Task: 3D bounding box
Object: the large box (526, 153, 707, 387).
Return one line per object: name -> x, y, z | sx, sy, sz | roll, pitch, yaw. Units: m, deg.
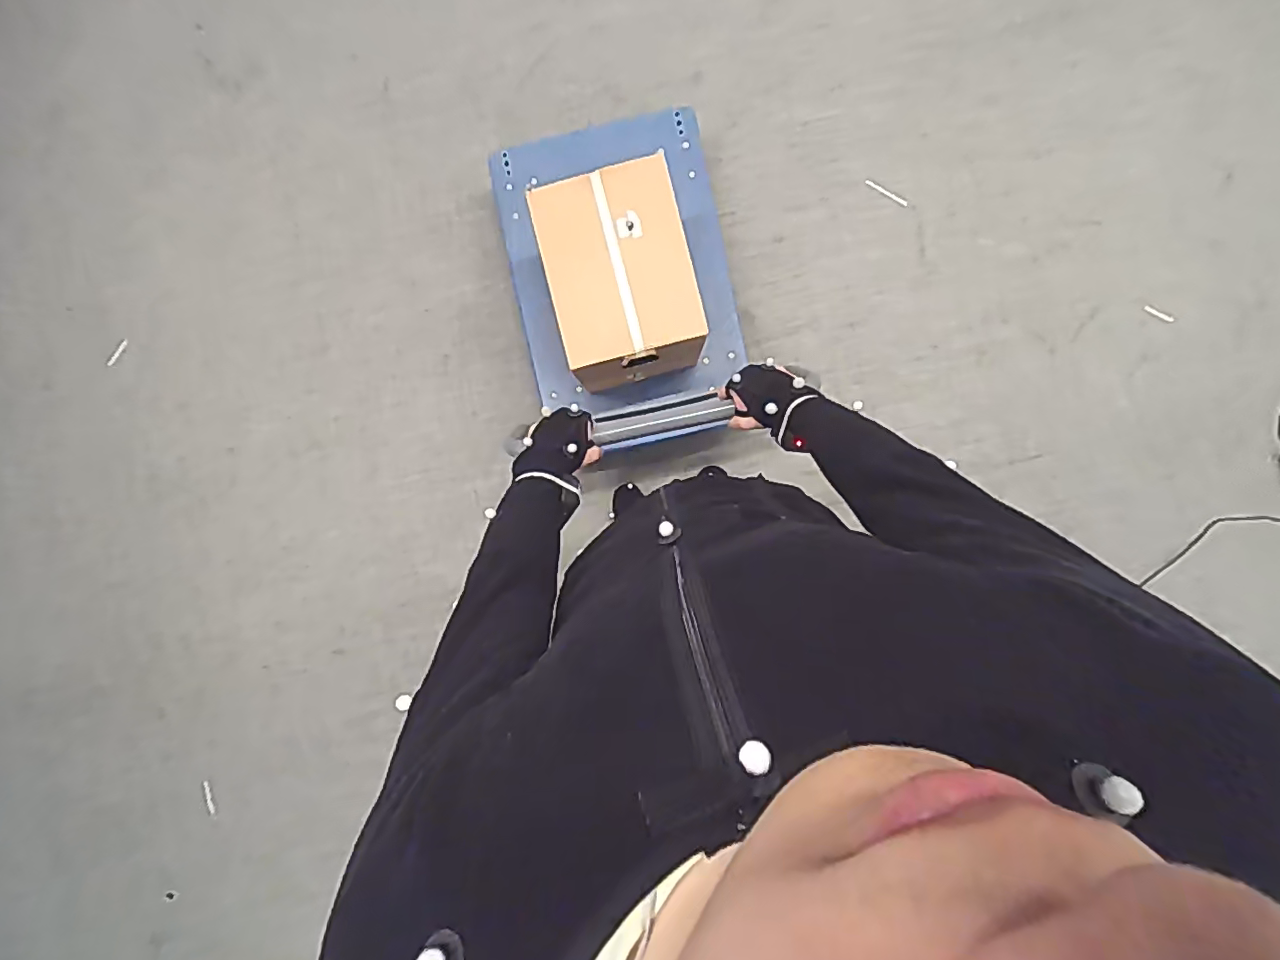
large box -> -0.045, -0.480, 1.321 | 0.320, 0.320, 0.408 | -14, 90, 2
